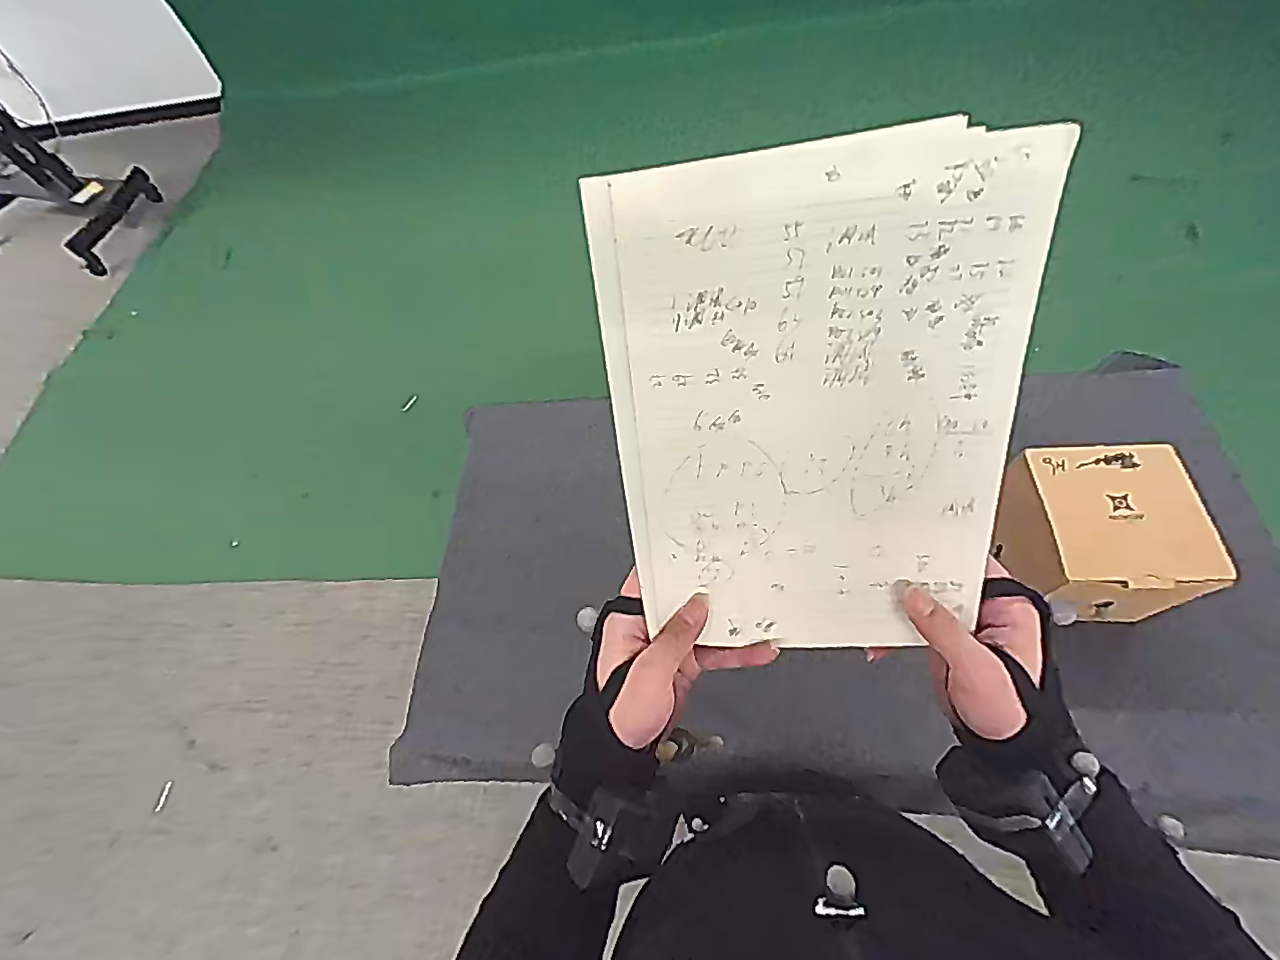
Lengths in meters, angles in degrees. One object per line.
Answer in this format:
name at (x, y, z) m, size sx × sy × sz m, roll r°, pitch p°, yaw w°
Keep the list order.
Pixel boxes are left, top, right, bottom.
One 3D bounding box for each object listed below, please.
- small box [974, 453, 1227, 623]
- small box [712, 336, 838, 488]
small box at (0.567, 0.082, 0.699) m, size 0.168 × 0.176 × 0.179 m, roll -1°, pitch 63°, yaw 8°
small box at (0.198, -0.096, 0.837) m, size 0.168 × 0.176 × 0.179 m, roll -2°, pitch 61°, yaw 7°
